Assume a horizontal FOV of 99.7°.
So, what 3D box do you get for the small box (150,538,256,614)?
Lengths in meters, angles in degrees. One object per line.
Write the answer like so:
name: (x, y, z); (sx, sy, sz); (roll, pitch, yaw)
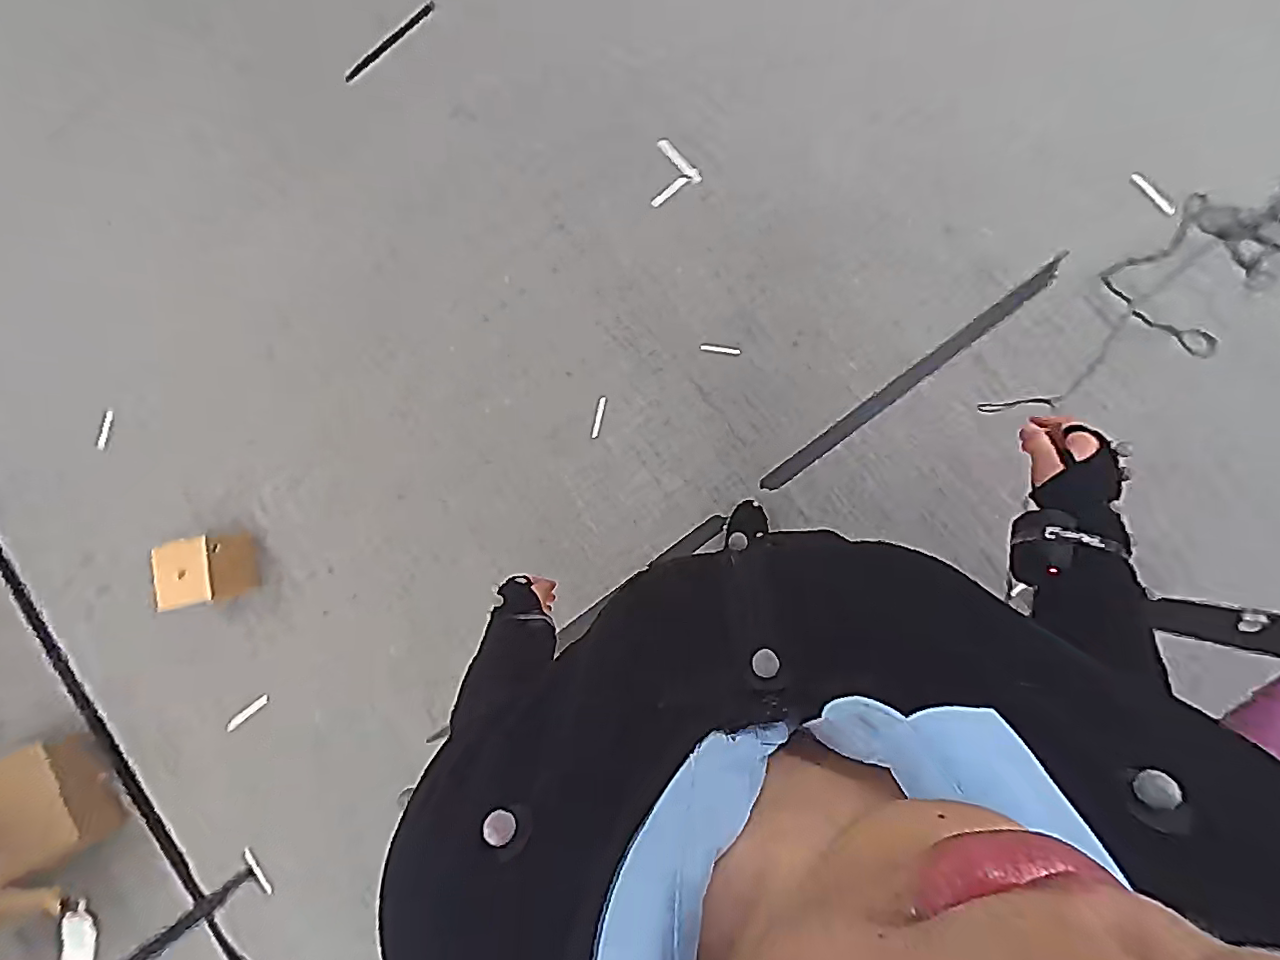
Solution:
small box: (-1.244, 0.269, 1.553); (0.168, 0.176, 0.179); (-14, 84, 5)
